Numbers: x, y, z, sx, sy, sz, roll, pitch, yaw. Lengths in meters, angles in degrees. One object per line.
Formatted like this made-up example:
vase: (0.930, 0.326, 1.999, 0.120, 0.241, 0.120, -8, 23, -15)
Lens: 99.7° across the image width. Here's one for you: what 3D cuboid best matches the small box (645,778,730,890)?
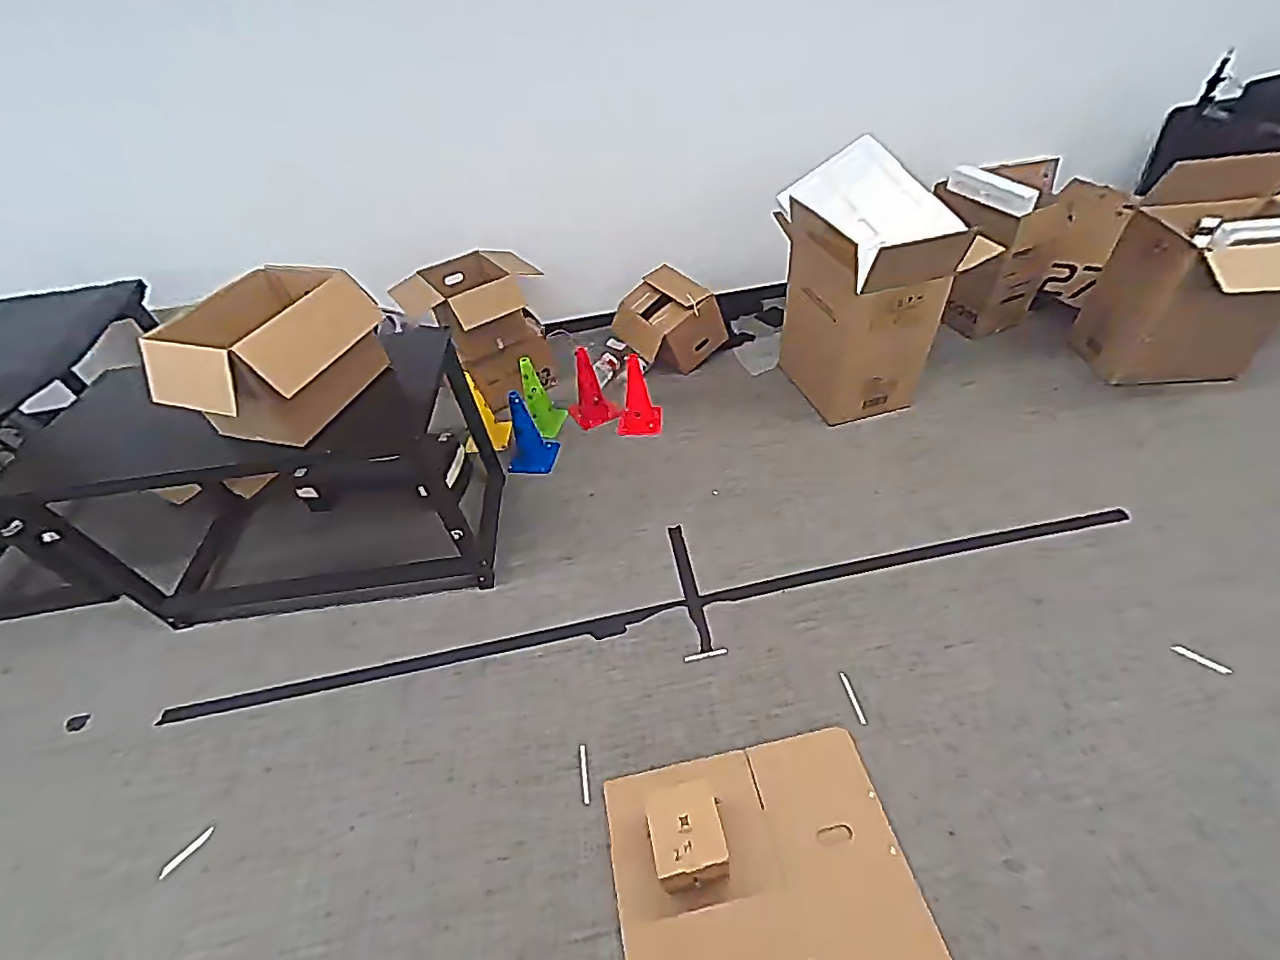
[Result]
small box: (0.111, 0.850, 1.298, 0.168, 0.176, 0.179, -12, 46, -3)
